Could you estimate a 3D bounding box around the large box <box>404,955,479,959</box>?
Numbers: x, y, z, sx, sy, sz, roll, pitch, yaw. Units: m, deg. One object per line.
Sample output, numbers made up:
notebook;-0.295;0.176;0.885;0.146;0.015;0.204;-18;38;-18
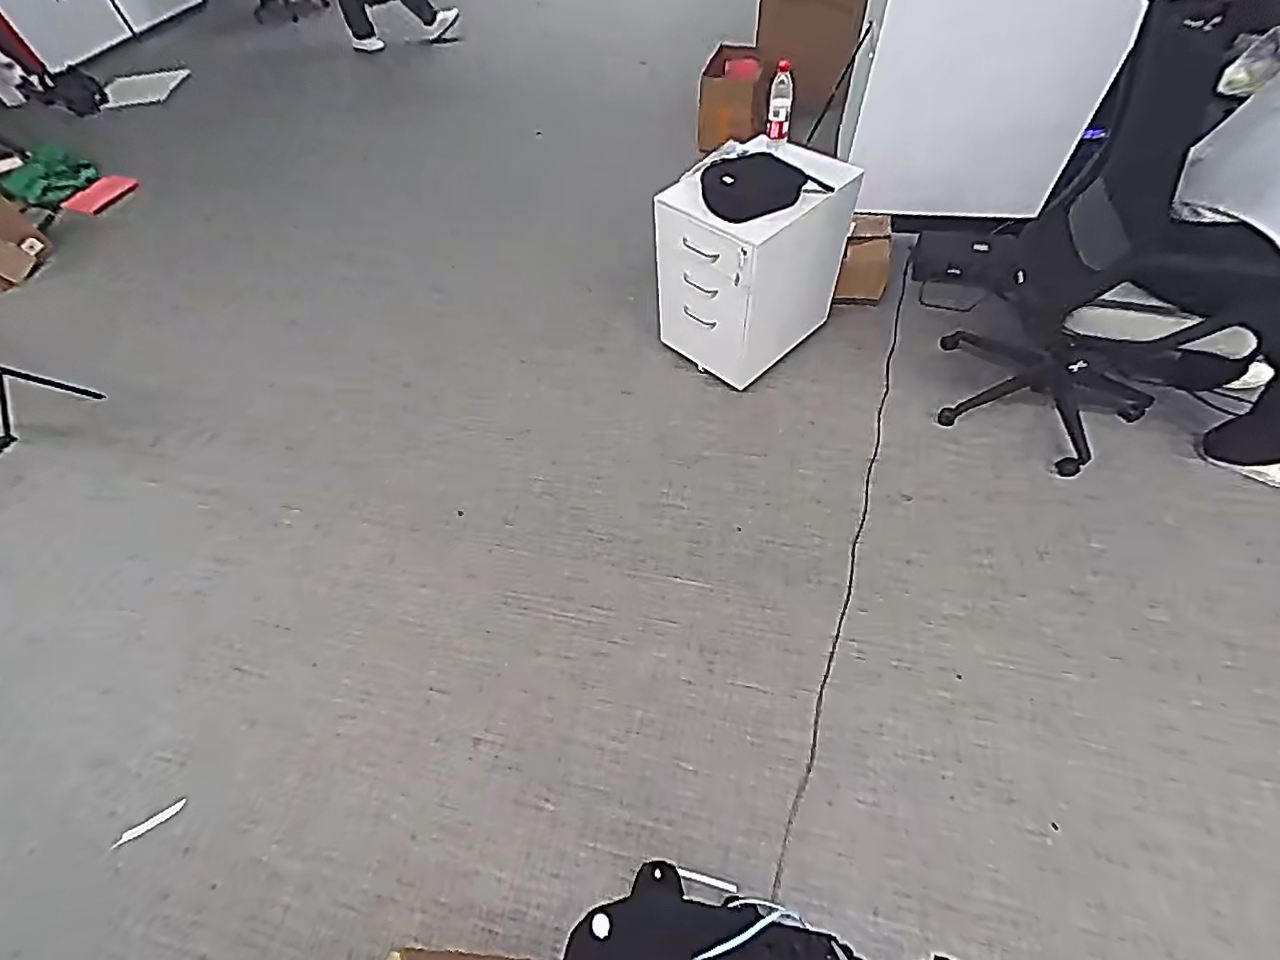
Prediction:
large box;-0.218;0.827;0.611;0.320;0.408;0.320;-41;41;-9
